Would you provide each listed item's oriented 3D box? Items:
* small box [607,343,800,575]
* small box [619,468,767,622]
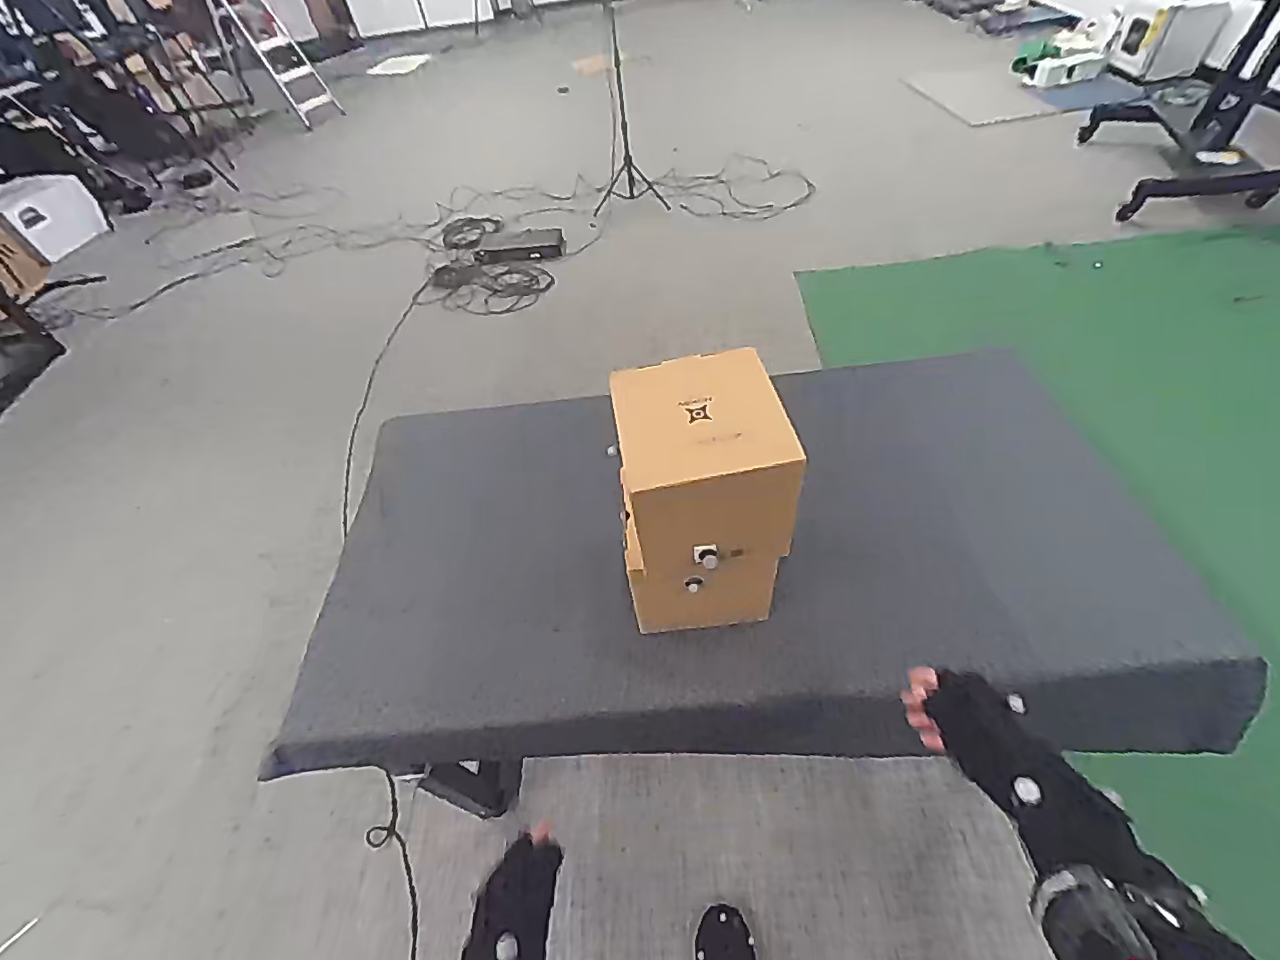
[{"bbox_3d":[0.063,-0.020,0.601,0.168,0.176,0.179,-11,51,1],"label":"small box"},{"bbox_3d":[0.071,0.079,0.729,0.179,0.176,0.168,-6,50,2],"label":"small box"}]
